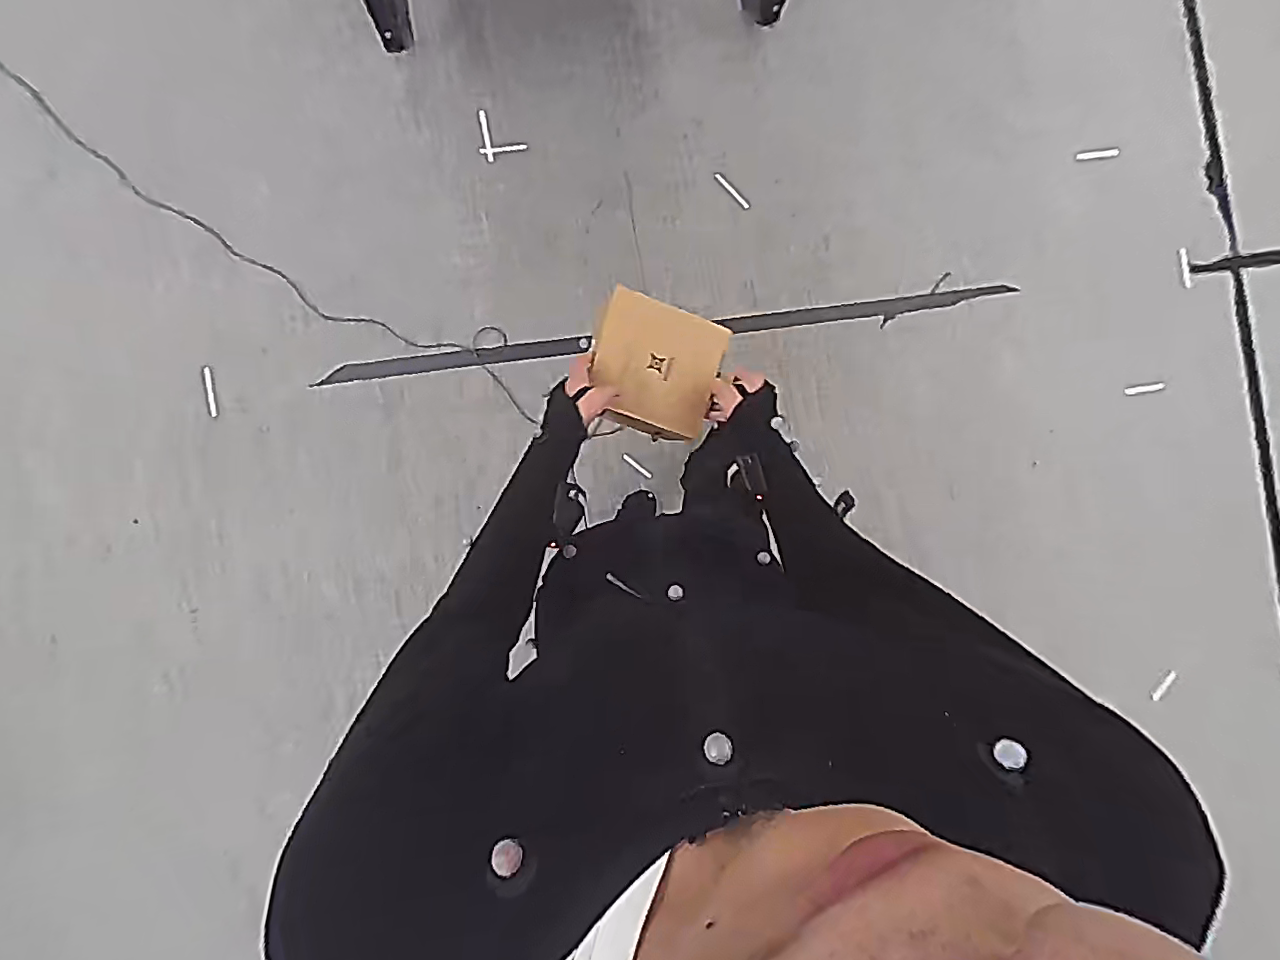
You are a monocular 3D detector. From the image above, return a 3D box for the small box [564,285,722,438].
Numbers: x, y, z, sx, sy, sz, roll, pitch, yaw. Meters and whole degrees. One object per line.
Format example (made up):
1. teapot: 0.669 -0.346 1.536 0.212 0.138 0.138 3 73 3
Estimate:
1. small box: -0.005 -0.167 0.819 0.179 0.176 0.168 16 90 -14
